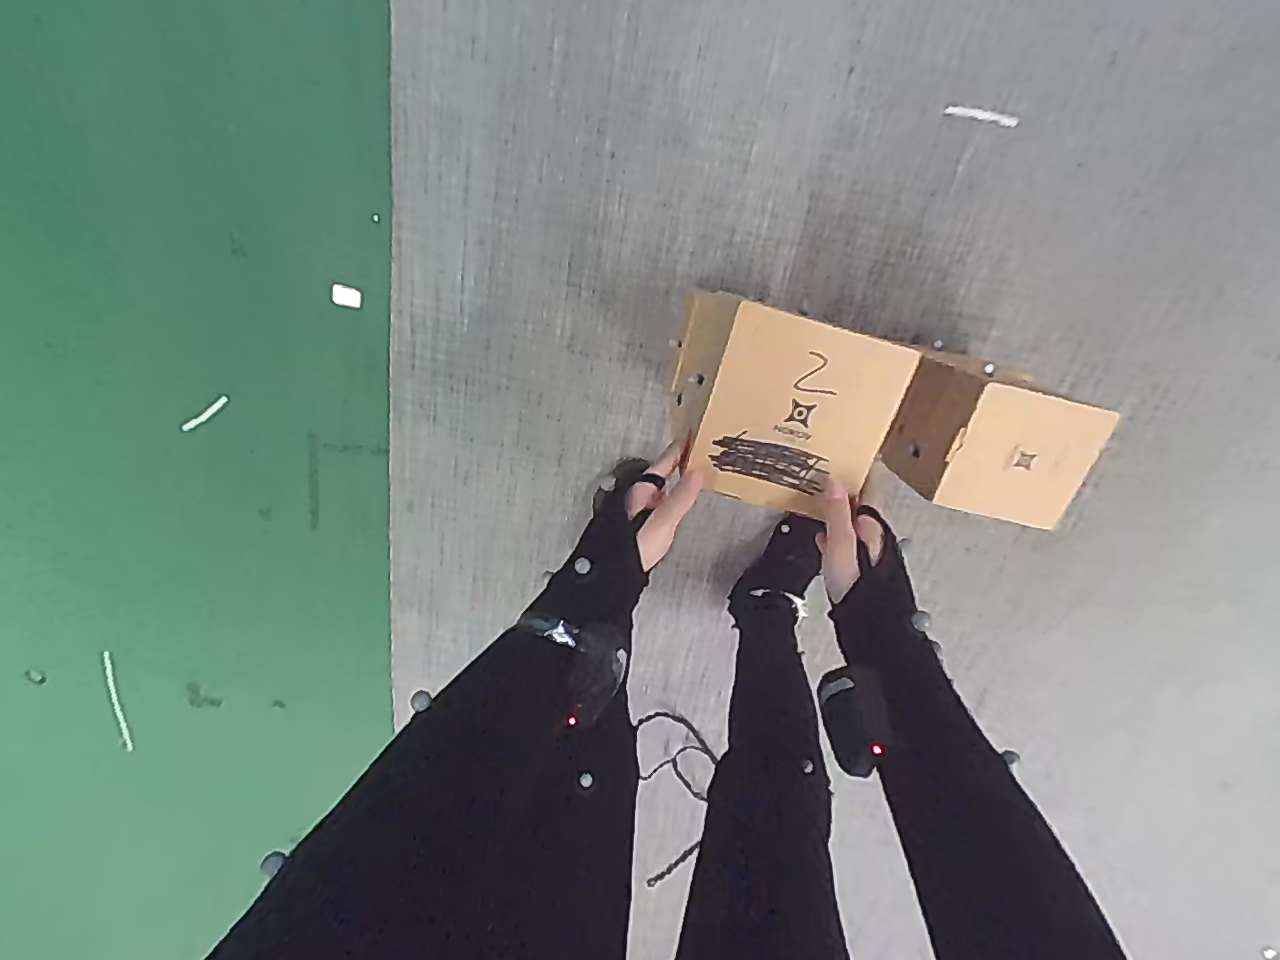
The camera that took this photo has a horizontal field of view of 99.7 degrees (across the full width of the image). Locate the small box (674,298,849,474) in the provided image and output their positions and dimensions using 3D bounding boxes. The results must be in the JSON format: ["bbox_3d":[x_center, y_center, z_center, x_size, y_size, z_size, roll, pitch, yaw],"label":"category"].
[{"bbox_3d":[0.146,-0.133,0.724,0.168,0.176,0.179,14,111,-4],"label":"small box"}]

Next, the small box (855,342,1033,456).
[{"bbox_3d":[0.481,-0.126,0.892,0.179,0.176,0.168,10,112,-1],"label":"small box"}]

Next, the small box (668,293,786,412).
[{"bbox_3d":[0.146,-0.195,0.877,0.168,0.176,0.179,13,111,-3],"label":"small box"}]

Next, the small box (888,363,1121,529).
[{"bbox_3d":[0.476,-0.056,0.743,0.179,0.176,0.168,12,112,-3],"label":"small box"}]
